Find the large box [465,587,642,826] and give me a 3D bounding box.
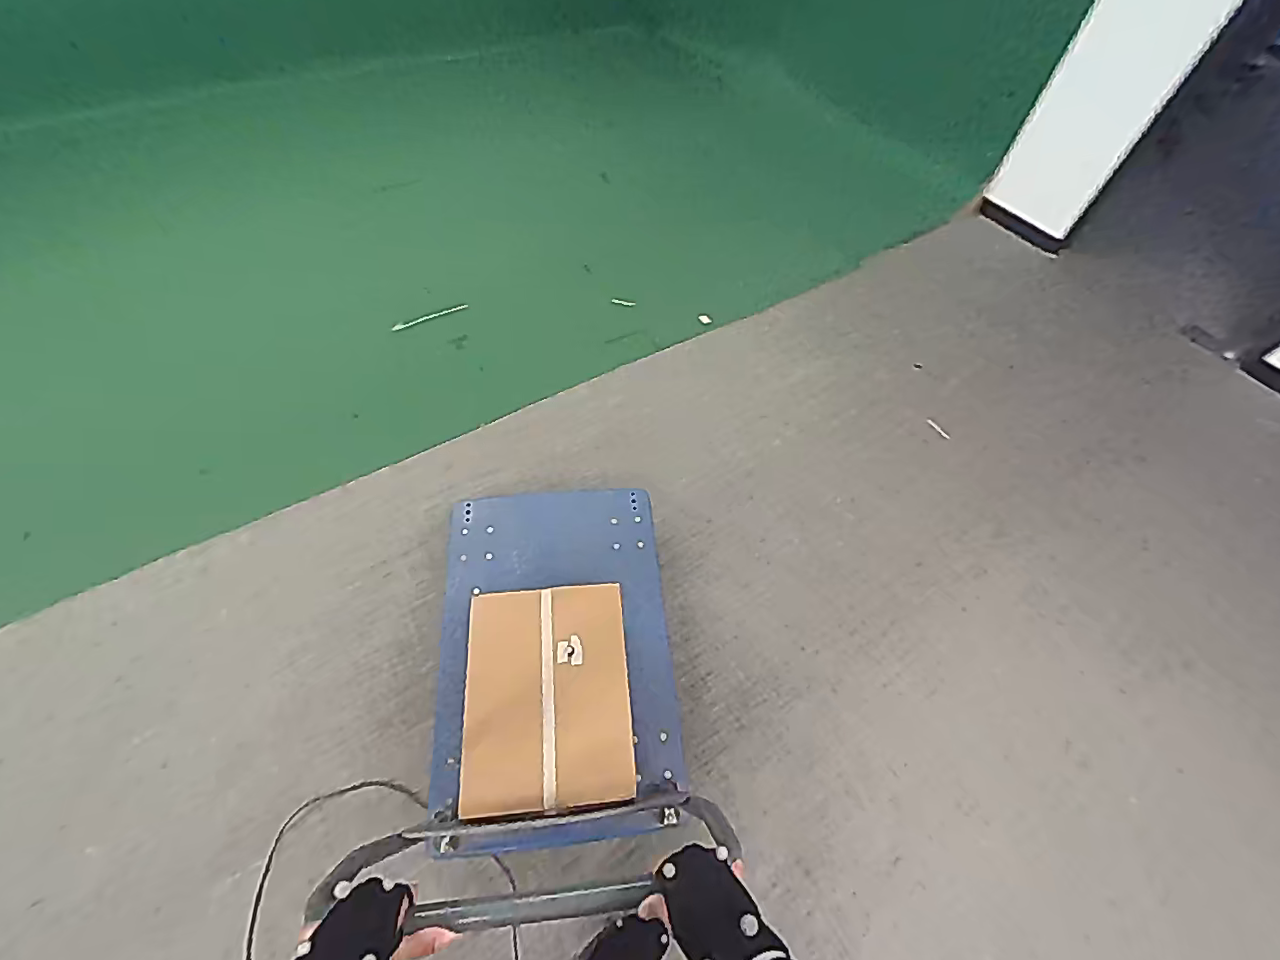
[{"bbox_3d":[-0.179,0.488,1.168,0.320,0.320,0.408,-4,58,-6],"label":"large box"}]
